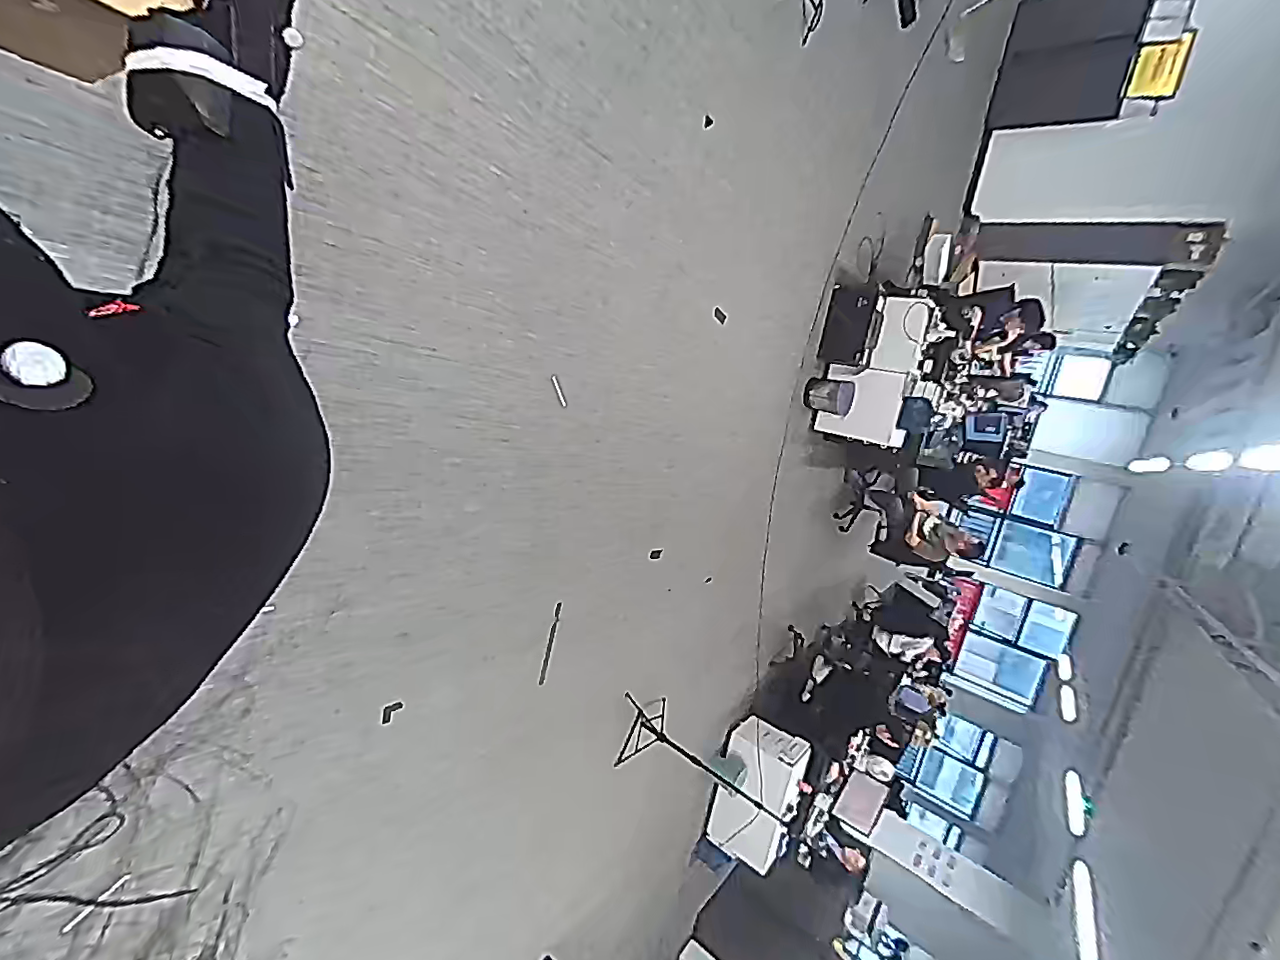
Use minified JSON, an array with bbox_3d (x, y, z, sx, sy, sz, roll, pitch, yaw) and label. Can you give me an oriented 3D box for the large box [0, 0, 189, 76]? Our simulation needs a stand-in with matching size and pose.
[{"bbox_3d":[-0.525,-0.493,0.274,0.408,0.320,0.320,-4,112,-55],"label":"large box"}]
